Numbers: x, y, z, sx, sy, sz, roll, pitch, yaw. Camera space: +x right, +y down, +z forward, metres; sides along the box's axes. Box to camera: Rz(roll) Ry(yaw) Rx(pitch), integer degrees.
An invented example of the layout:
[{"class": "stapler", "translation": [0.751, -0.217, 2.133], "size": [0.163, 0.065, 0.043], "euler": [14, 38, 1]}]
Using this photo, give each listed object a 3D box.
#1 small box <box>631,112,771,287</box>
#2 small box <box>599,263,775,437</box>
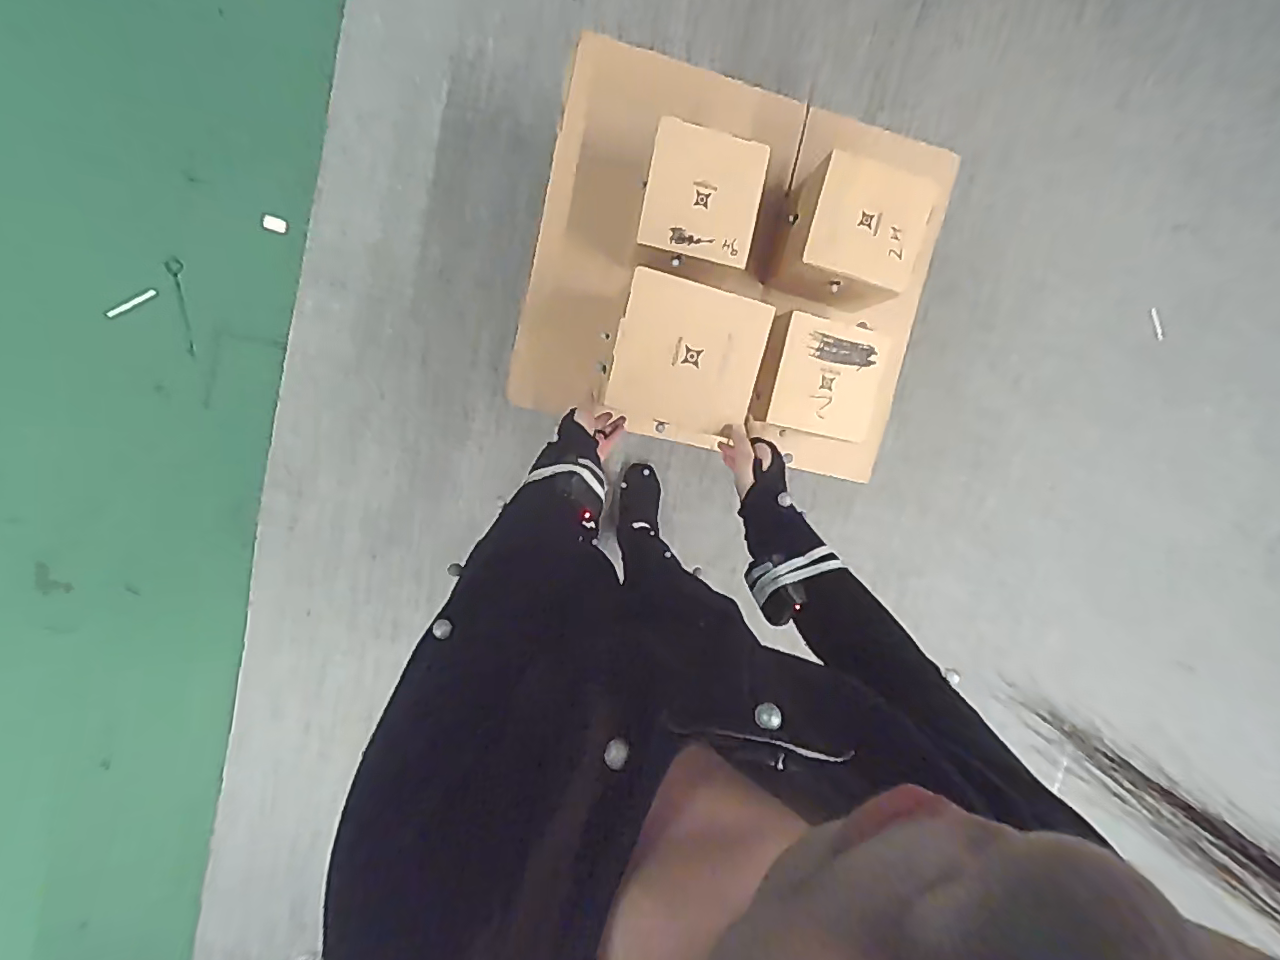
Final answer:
[{"class": "small box", "translation": [0.083, -0.418, 0.839], "size": [0.168, 0.176, 0.179], "euler": [11, 96, -6]}, {"class": "small box", "translation": [0.047, -0.162, 0.710], "size": [0.179, 0.176, 0.168], "euler": [14, 98, -9]}]
